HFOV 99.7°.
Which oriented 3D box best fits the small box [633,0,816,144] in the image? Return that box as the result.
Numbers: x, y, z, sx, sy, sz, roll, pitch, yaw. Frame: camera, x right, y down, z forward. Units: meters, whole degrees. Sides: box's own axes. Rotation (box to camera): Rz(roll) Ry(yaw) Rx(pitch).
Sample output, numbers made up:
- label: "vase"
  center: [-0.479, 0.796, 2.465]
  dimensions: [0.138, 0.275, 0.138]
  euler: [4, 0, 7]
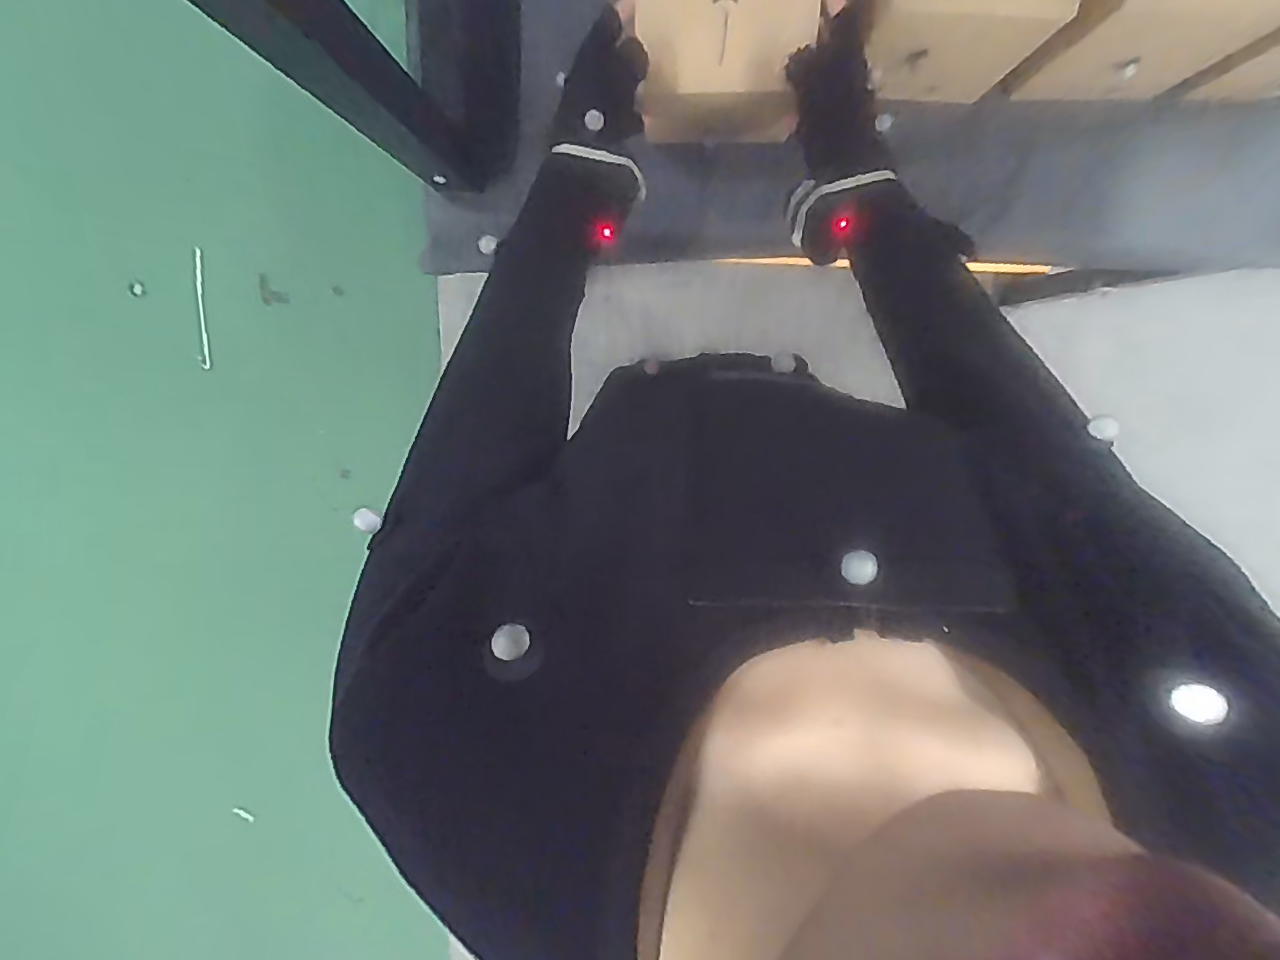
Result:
- label: "small box"
  center: [0.083, -0.470, 0.559]
  dimensions: [0.168, 0.176, 0.179]
  euler: [2, 109, 6]
